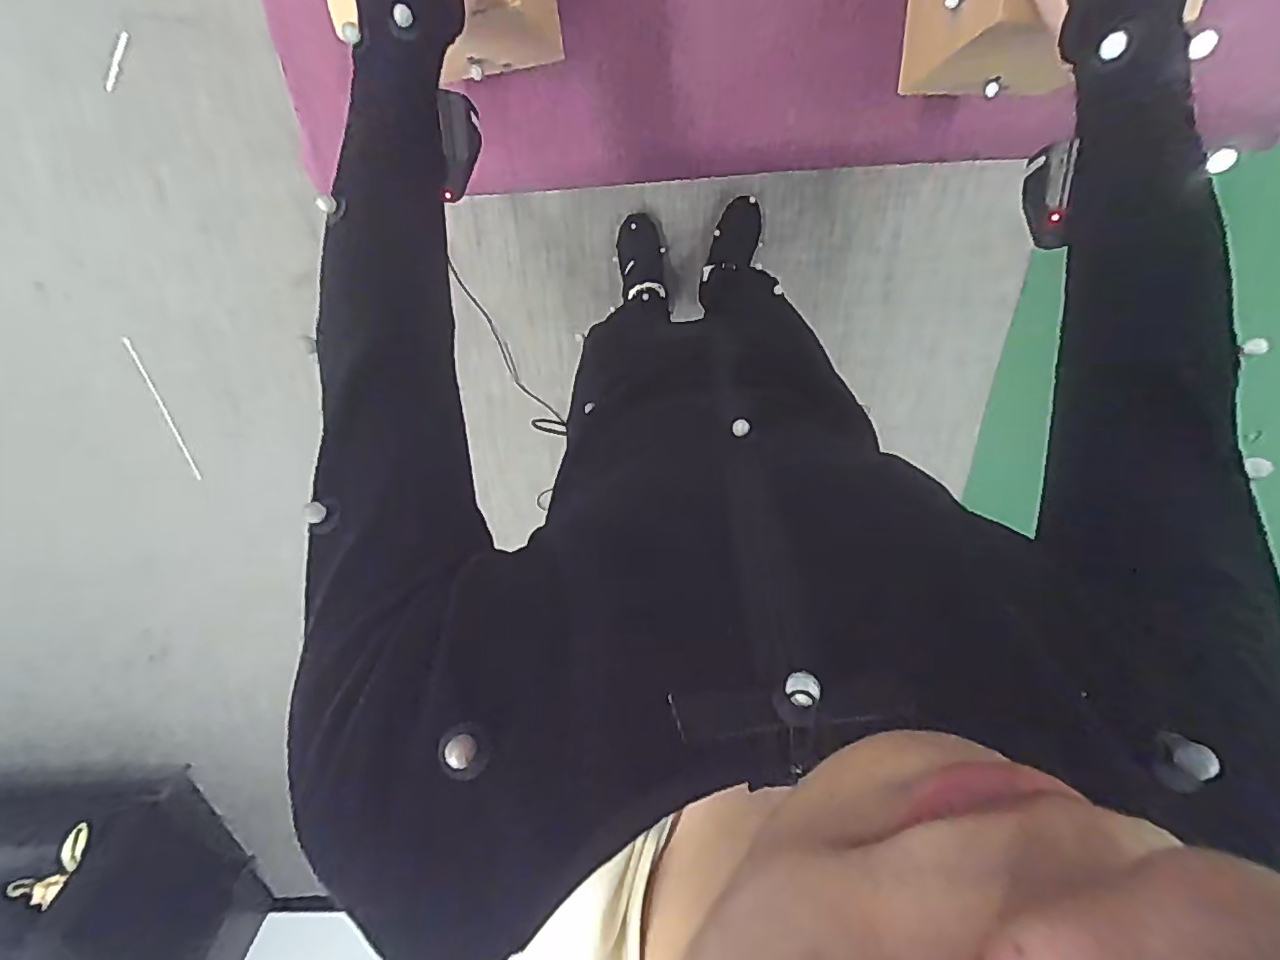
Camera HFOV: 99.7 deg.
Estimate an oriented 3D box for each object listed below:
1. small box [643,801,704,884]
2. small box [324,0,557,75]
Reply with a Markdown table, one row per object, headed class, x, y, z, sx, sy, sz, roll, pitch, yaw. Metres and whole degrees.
| class | x | y | z | sx | sy | sz | roll | pitch | yaw |
| --- | --- | --- | --- | --- | --- | --- | --- | --- | --- |
| small box | 0.107 | 1.163 | 1.748 | 0.168 | 0.176 | 0.179 | -11 | 119 | 8 |
| small box | -0.184 | -0.502 | 0.487 | 0.168 | 0.176 | 0.179 | -4 | 114 | 8 |
